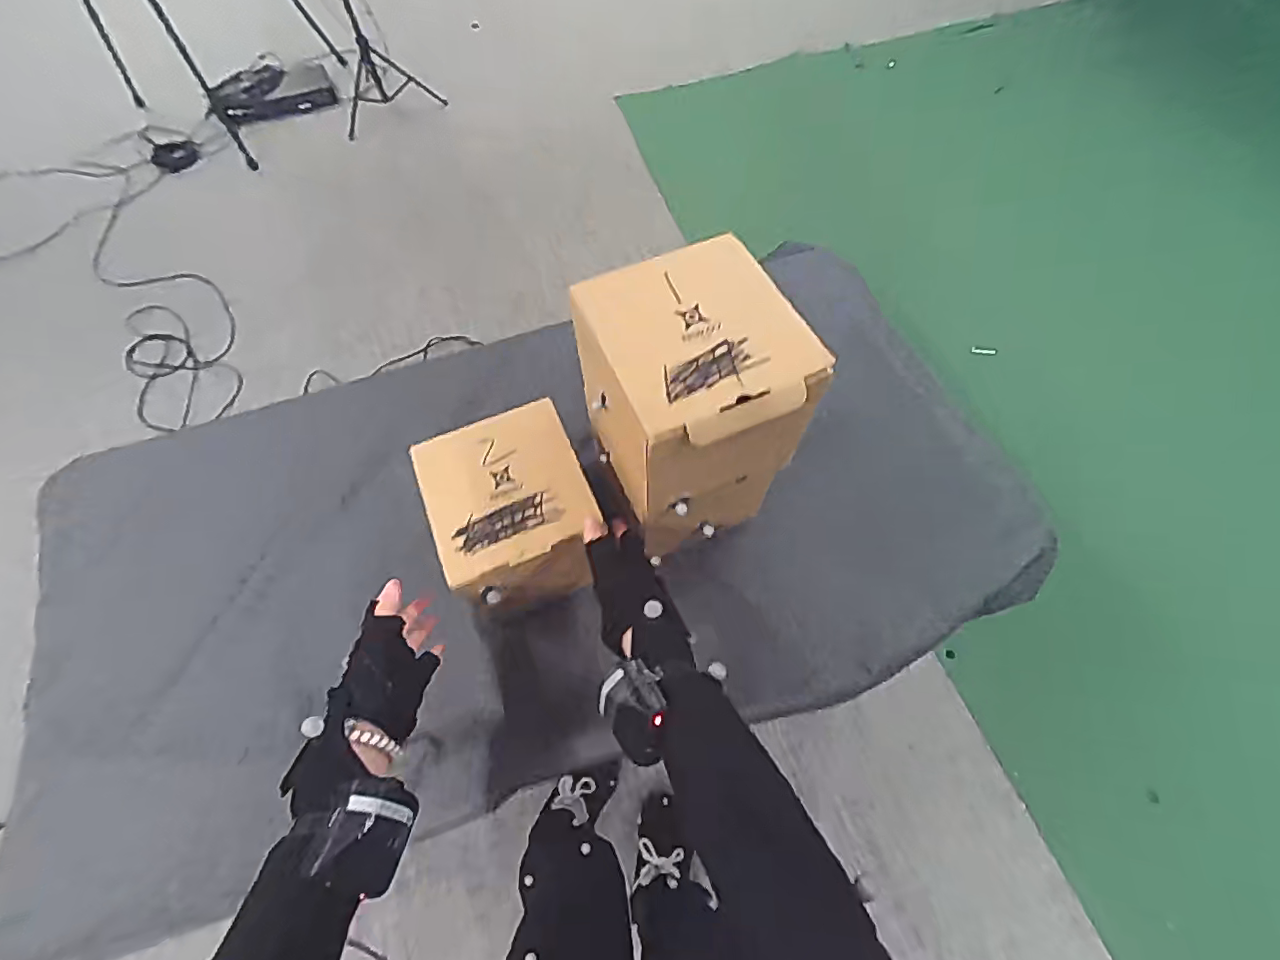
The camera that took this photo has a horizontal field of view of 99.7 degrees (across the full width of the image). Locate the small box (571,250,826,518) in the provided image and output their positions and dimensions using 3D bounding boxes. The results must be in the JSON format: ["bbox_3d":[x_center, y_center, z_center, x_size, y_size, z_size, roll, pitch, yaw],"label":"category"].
[{"bbox_3d":[0.048,-0.081,0.529,0.168,0.176,0.179,-22,64,-9],"label":"small box"}]
